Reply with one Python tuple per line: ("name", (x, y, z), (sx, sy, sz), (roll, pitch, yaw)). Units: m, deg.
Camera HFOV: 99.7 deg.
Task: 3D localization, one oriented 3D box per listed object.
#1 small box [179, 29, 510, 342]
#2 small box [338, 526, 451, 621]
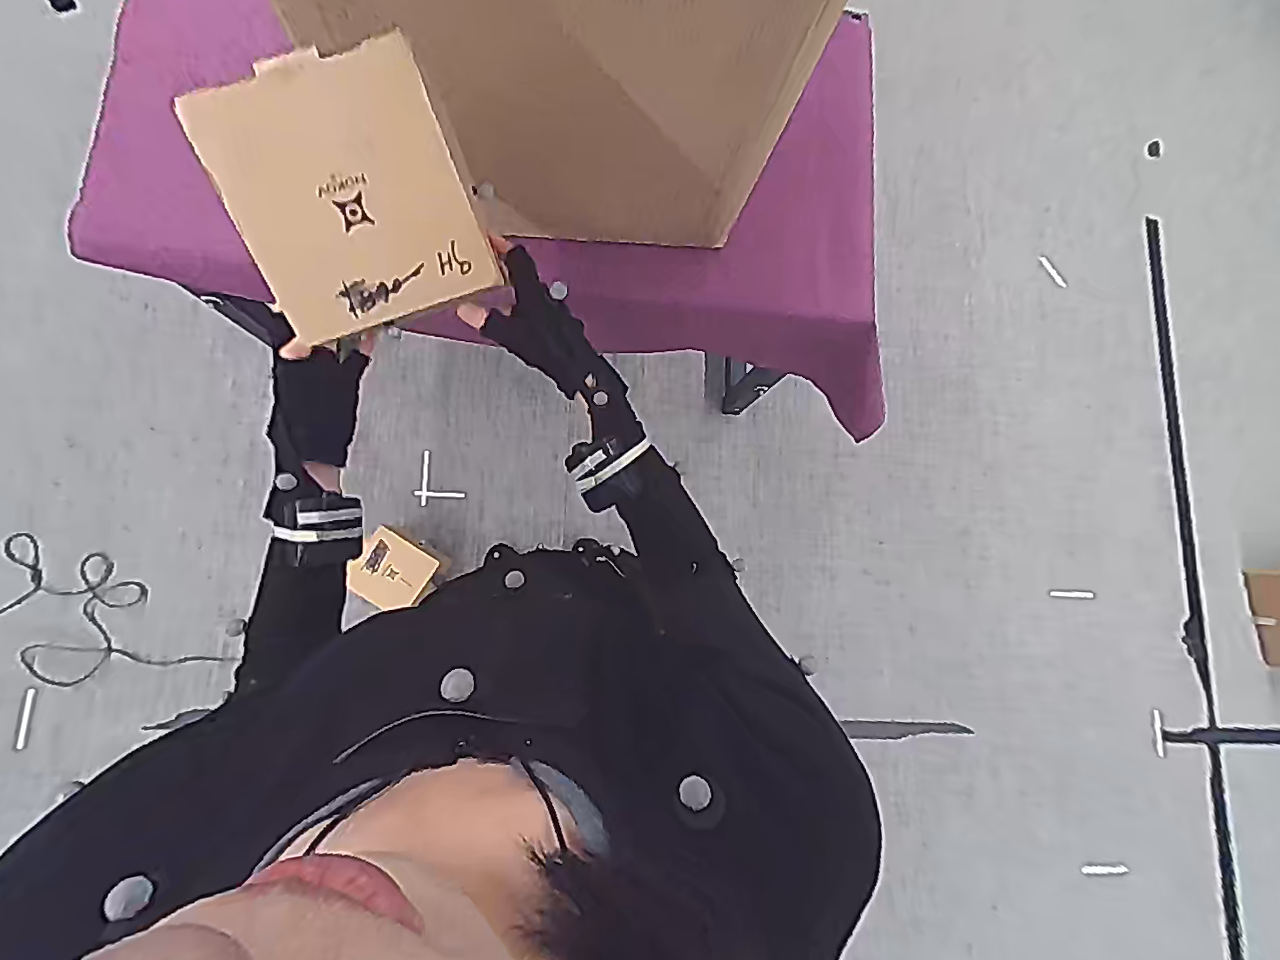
("small box", (-0.225, -0.231, 0.471), (0.168, 0.176, 0.179), (-20, 109, -3))
("small box", (-0.609, 0.235, 1.369), (0.179, 0.176, 0.168), (34, 80, -3))
